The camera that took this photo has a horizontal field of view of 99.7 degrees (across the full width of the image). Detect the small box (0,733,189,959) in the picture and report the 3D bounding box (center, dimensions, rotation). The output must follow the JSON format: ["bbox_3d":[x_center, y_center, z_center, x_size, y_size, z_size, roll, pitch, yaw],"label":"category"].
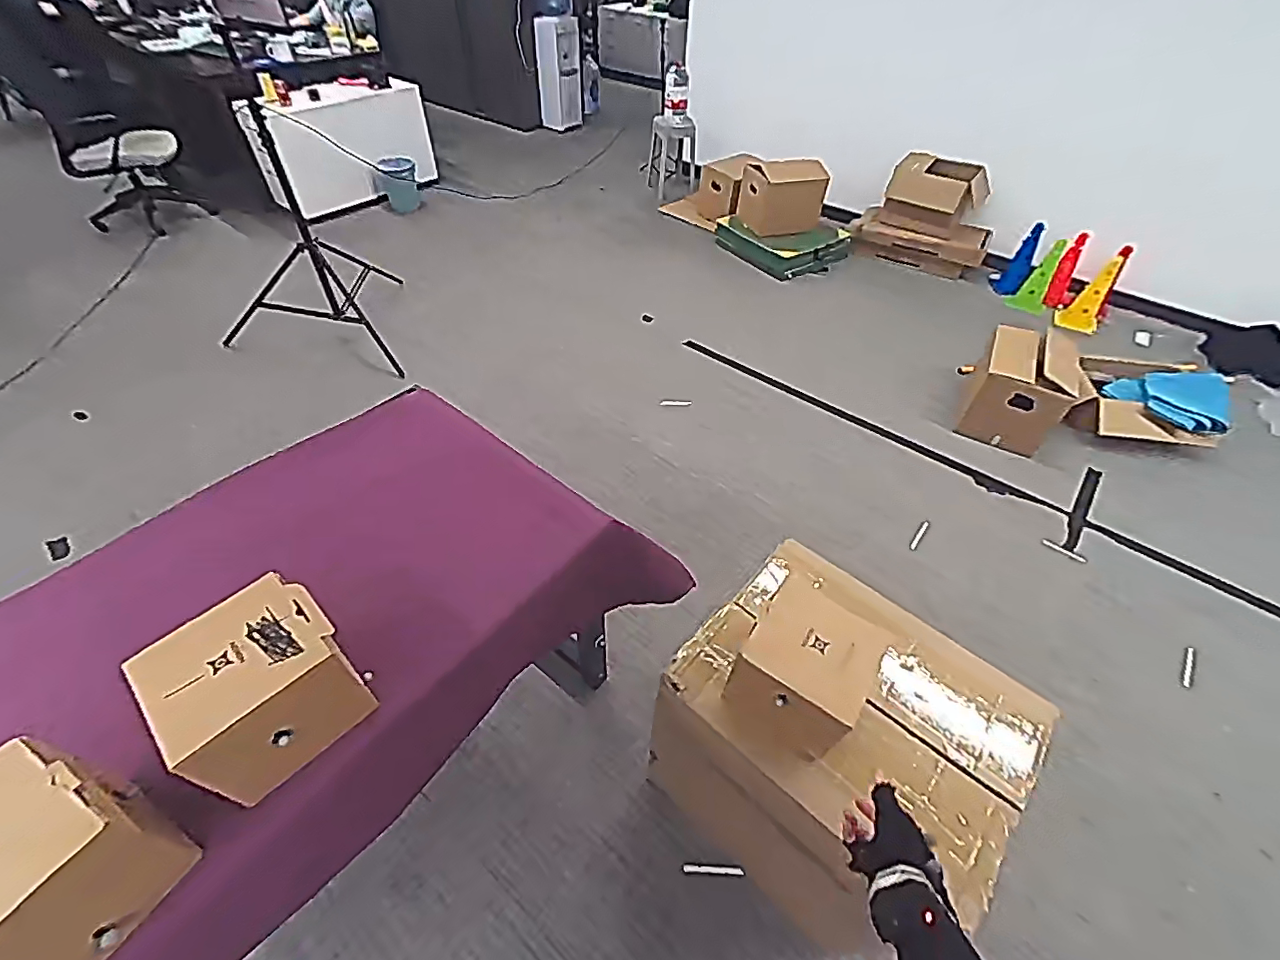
[{"bbox_3d":[-0.618,0.405,0.551,0.168,0.176,0.179,22,49,19],"label":"small box"}]

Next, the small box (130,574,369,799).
[{"bbox_3d":[-0.476,0.262,0.690,0.168,0.176,0.179,35,56,28],"label":"small box"}]

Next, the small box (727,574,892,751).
[{"bbox_3d":[0.253,0.287,0.841,0.179,0.176,0.168,29,55,21],"label":"small box"}]
